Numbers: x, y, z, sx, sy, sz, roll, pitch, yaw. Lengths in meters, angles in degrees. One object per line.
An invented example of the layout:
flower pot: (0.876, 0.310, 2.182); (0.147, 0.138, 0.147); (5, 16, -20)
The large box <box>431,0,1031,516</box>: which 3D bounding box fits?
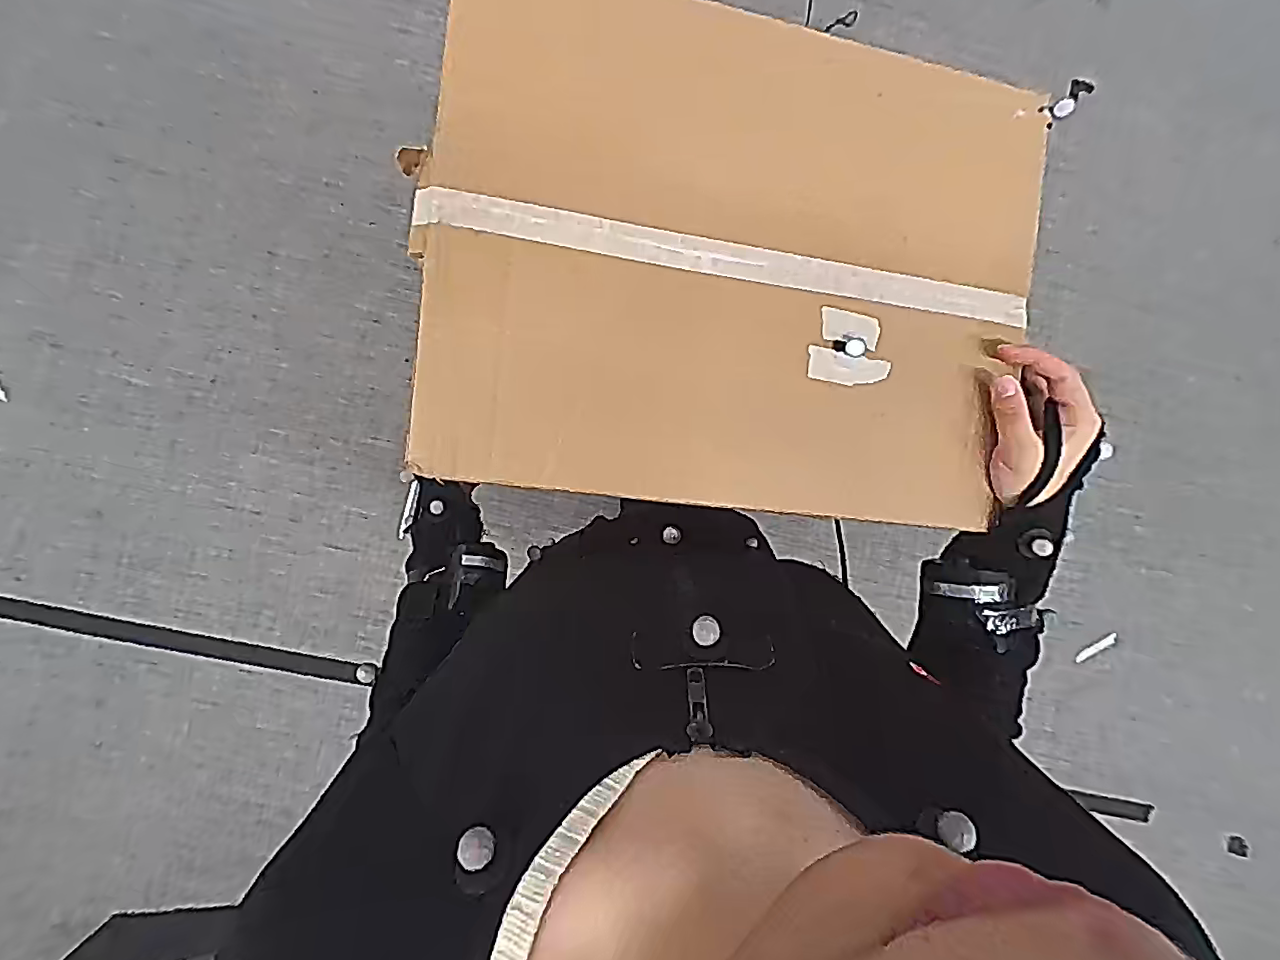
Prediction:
large box: (0.049, -0.148, 0.504); (0.408, 0.320, 0.320); (6, 92, -12)
